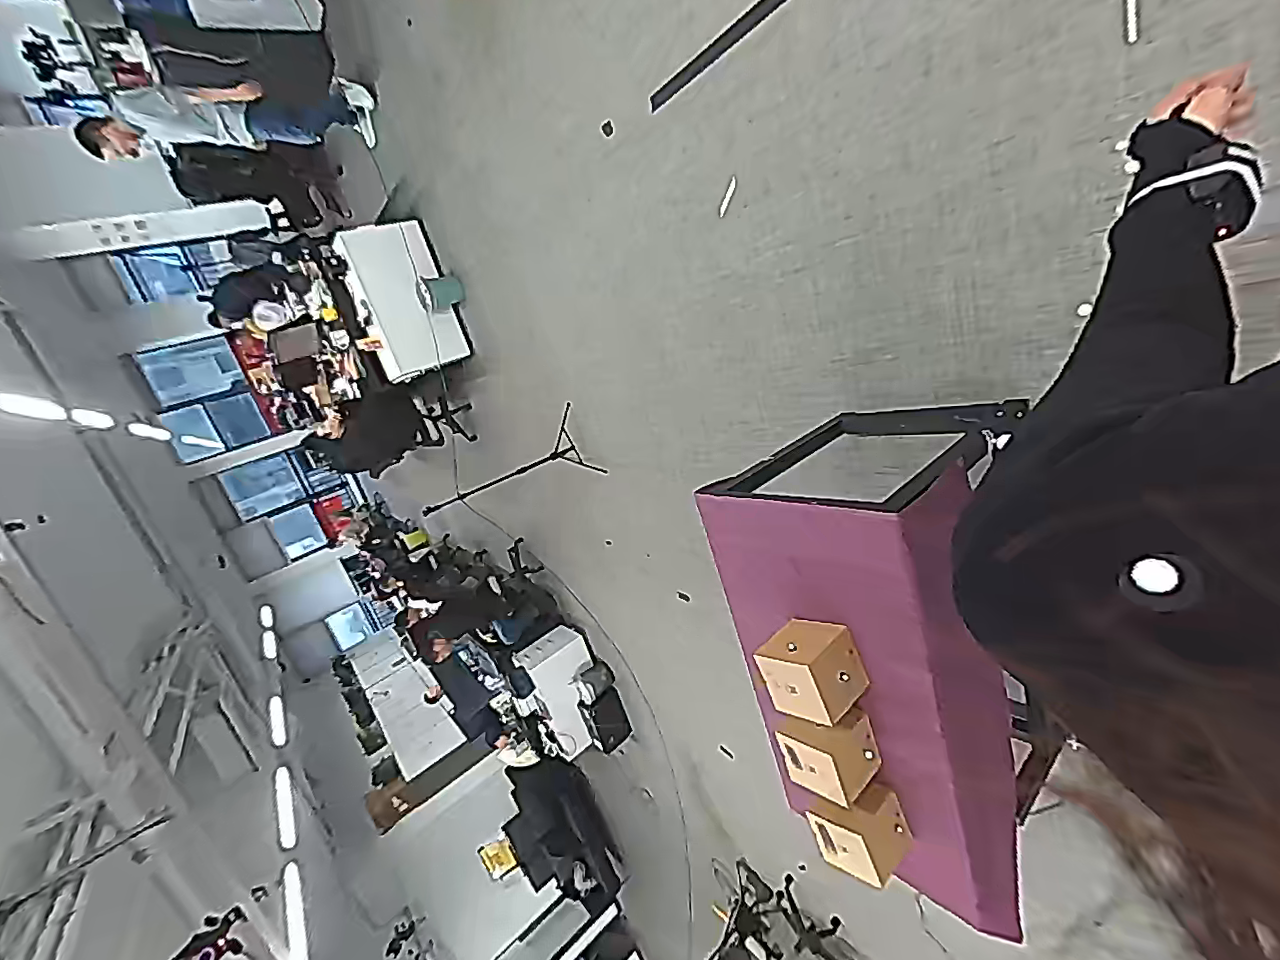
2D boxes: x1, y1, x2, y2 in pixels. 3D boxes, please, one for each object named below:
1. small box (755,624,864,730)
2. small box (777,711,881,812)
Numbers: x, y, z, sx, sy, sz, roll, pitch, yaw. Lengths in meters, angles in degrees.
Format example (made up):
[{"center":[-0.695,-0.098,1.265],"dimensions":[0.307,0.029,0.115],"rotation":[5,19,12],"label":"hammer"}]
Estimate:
[{"center":[0.424,0.474,1.333],"dimensions":[0.179,0.176,0.168],"rotation":[-11,104,57],"label":"small box"},{"center":[0.493,0.706,1.410],"dimensions":[0.179,0.176,0.168],"rotation":[-3,112,55],"label":"small box"}]
